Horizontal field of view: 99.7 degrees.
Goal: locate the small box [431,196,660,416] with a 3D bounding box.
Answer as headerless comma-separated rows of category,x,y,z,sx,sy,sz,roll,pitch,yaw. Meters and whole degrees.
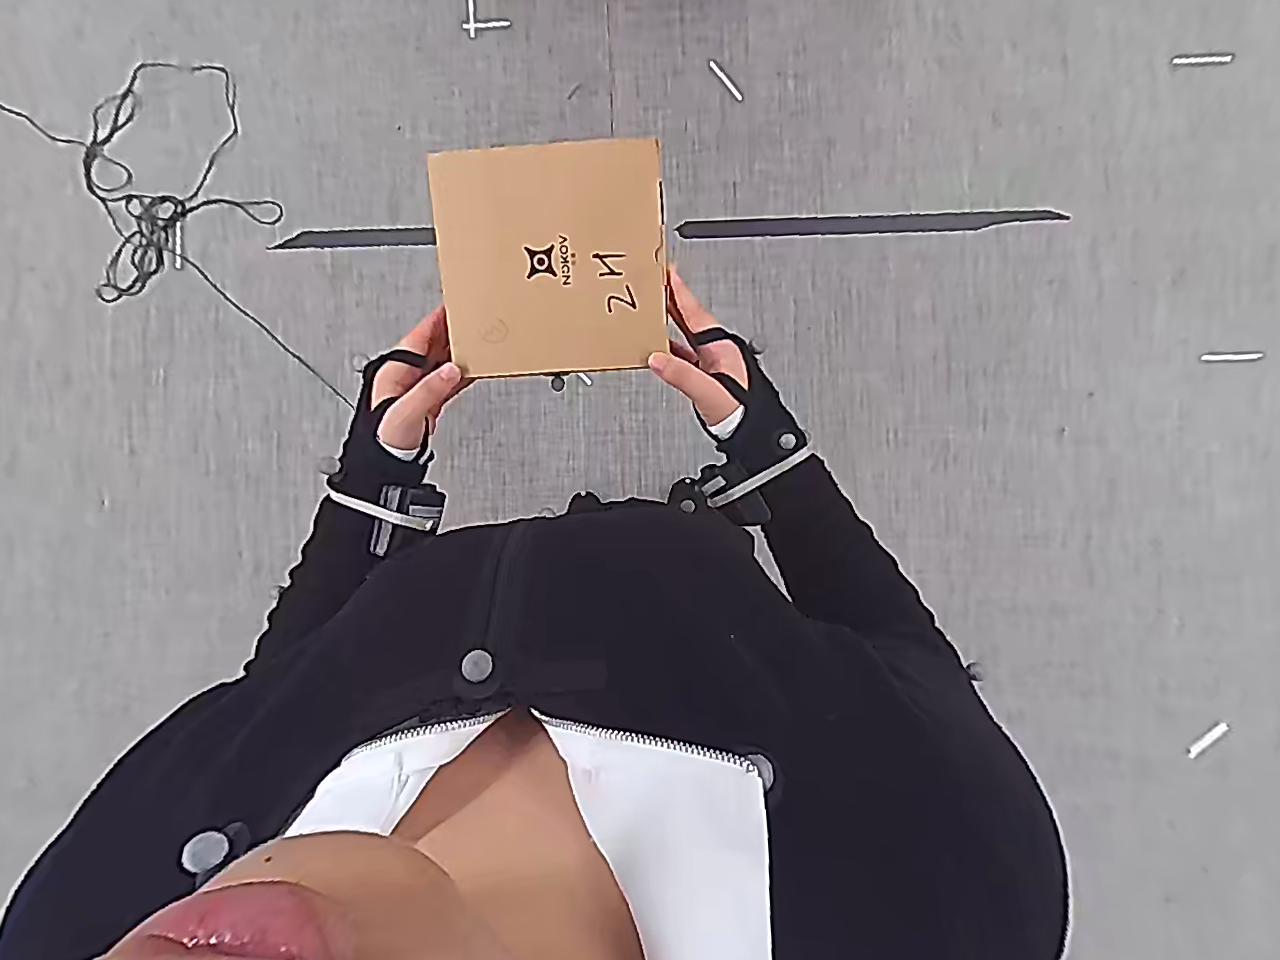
small box,-0.071,-0.149,0.508,0.179,0.176,0.168,-3,102,1
